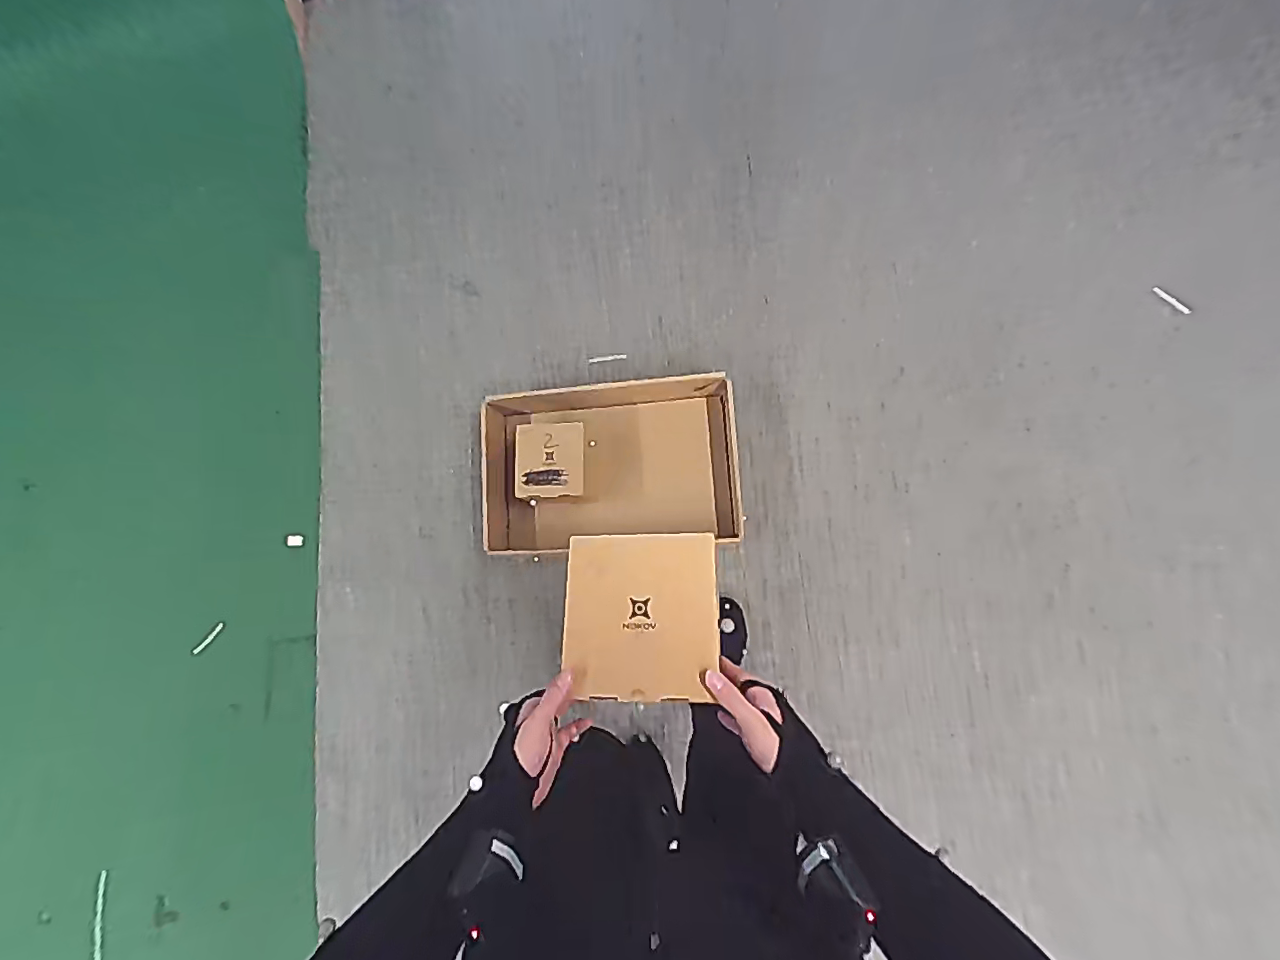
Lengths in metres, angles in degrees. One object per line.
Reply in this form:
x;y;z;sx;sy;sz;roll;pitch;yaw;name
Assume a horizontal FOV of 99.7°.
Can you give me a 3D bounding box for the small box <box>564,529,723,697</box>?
0.014;0.166;0.654;0.168;0.176;0.179;-2;69;8;small box
